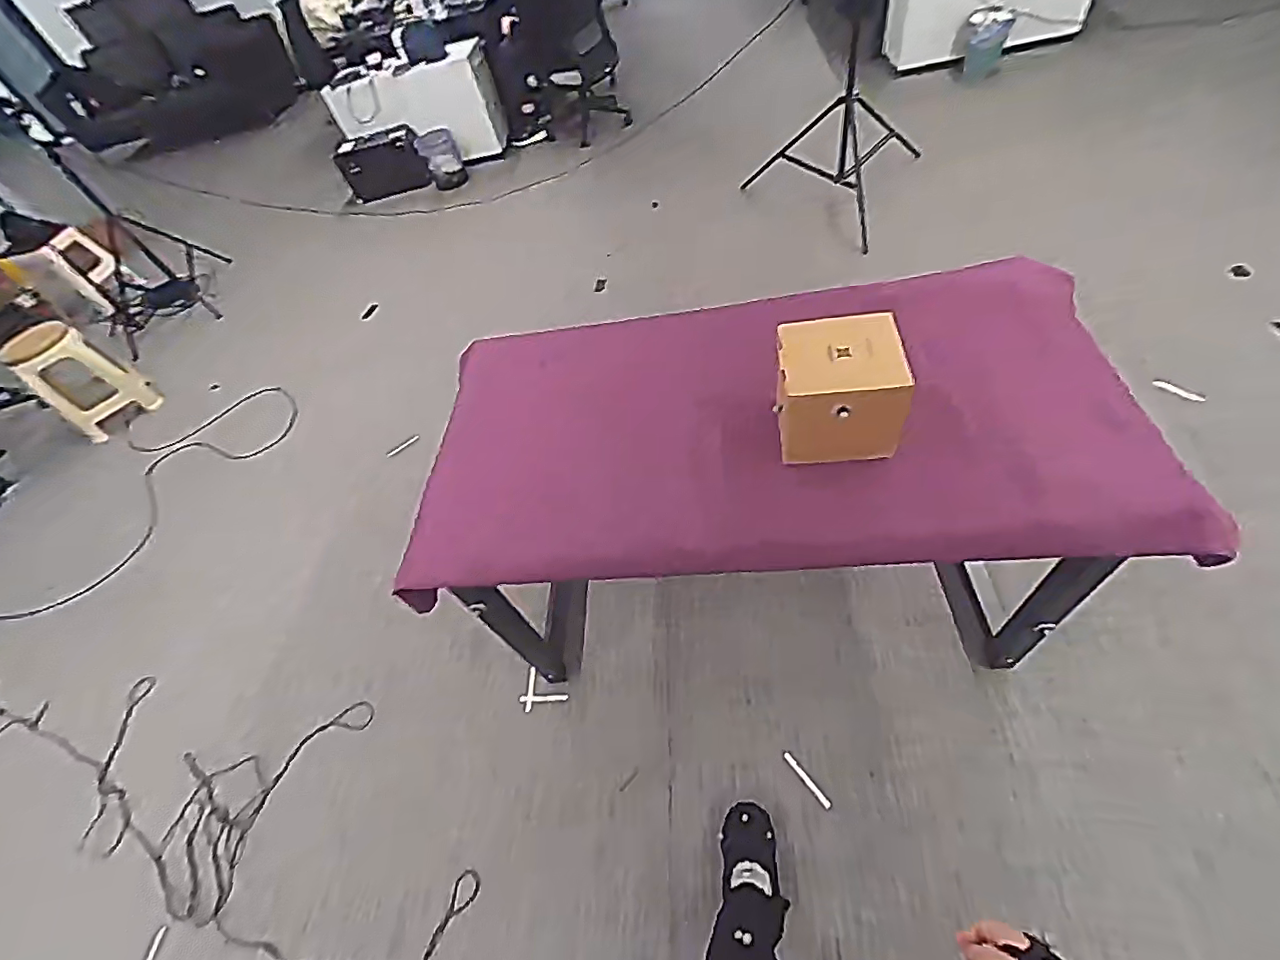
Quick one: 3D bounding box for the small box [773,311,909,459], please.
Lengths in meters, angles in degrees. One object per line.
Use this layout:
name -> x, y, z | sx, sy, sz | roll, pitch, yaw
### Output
small box -> 0.313, -0.147, 0.880 | 0.179, 0.176, 0.168 | -3, 54, 10
